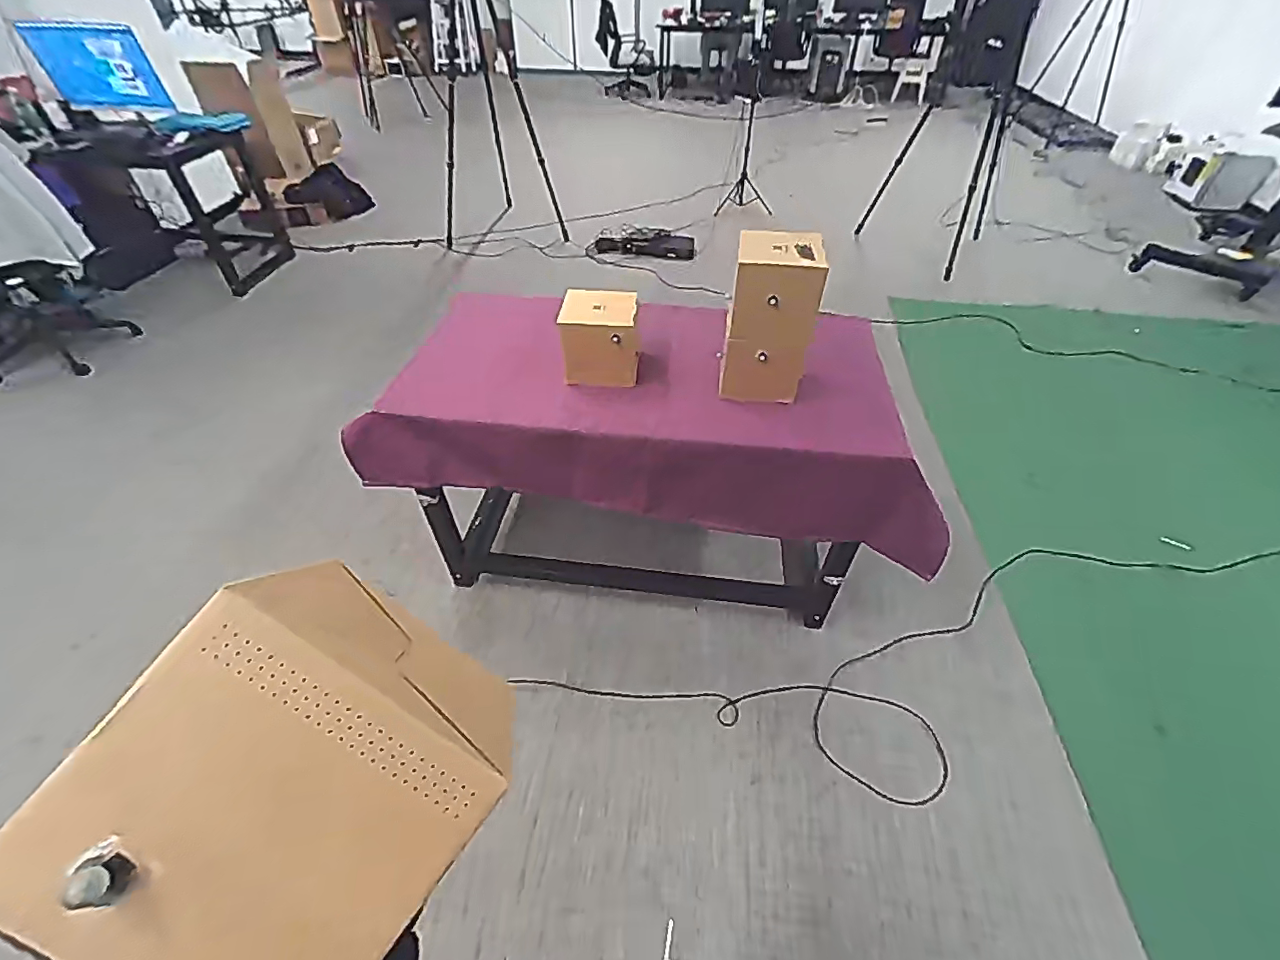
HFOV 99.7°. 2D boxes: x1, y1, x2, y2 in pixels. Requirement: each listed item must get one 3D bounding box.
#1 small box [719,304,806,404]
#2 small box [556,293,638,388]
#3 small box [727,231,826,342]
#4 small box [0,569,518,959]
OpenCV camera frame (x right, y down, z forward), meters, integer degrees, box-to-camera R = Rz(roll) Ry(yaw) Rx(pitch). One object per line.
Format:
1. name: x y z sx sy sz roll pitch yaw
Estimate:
1. small box: 0.281 -0.297 1.274 0.179 0.176 0.168 6 46 5
2. small box: -0.097 -0.339 1.320 0.179 0.176 0.168 3 45 2
3. small box: 0.285 -0.411 1.156 0.179 0.176 0.168 5 46 6
4. small box: -0.199 0.175 0.340 0.179 0.168 0.176 38 80 -8
